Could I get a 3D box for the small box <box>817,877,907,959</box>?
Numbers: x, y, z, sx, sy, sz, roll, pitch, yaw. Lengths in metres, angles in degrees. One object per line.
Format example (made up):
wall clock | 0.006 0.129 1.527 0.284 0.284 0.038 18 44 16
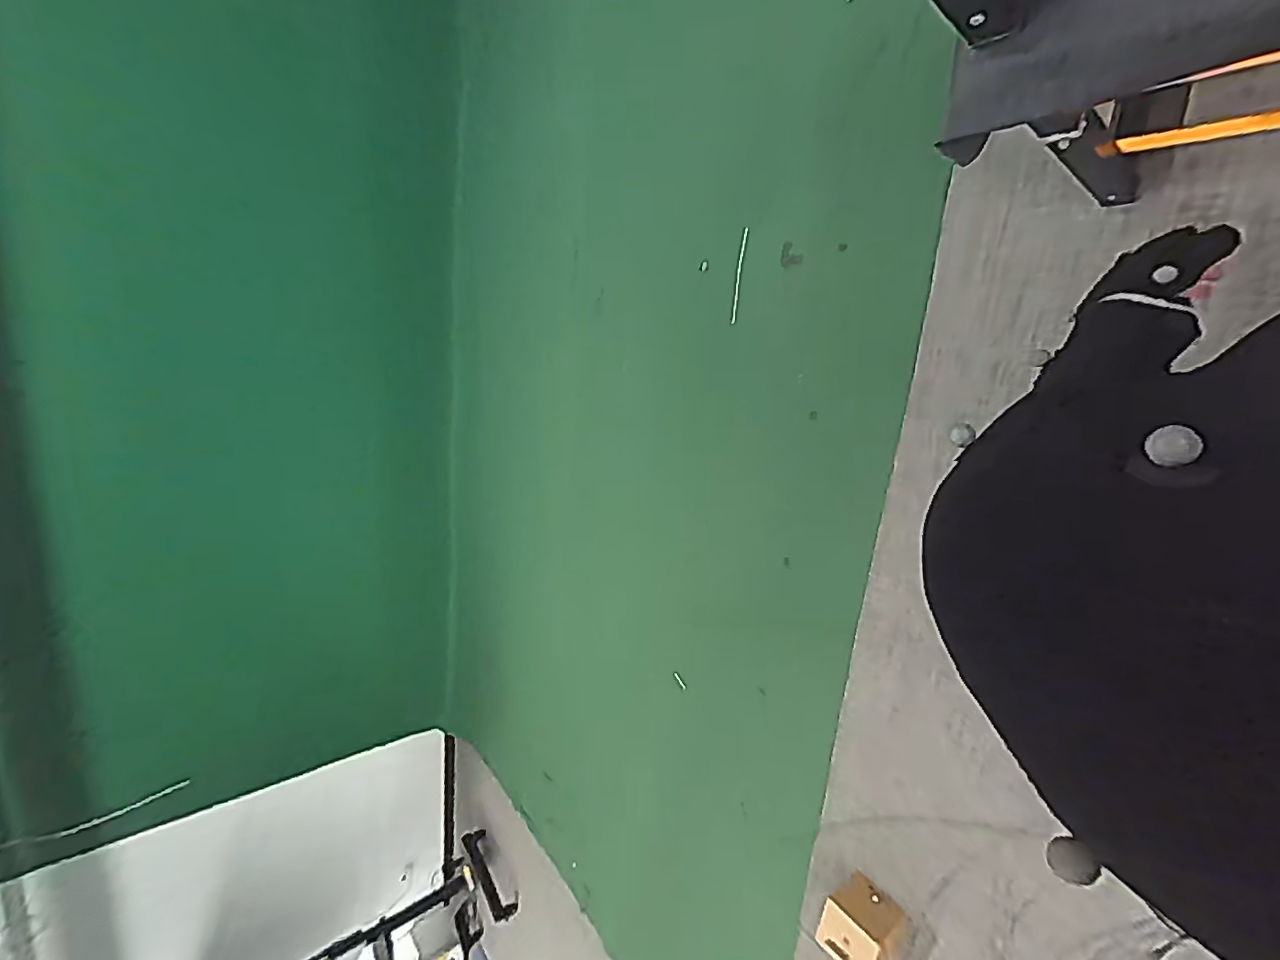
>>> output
small box | 0.657 1.339 1.595 0.168 0.176 0.179 25 111 46
